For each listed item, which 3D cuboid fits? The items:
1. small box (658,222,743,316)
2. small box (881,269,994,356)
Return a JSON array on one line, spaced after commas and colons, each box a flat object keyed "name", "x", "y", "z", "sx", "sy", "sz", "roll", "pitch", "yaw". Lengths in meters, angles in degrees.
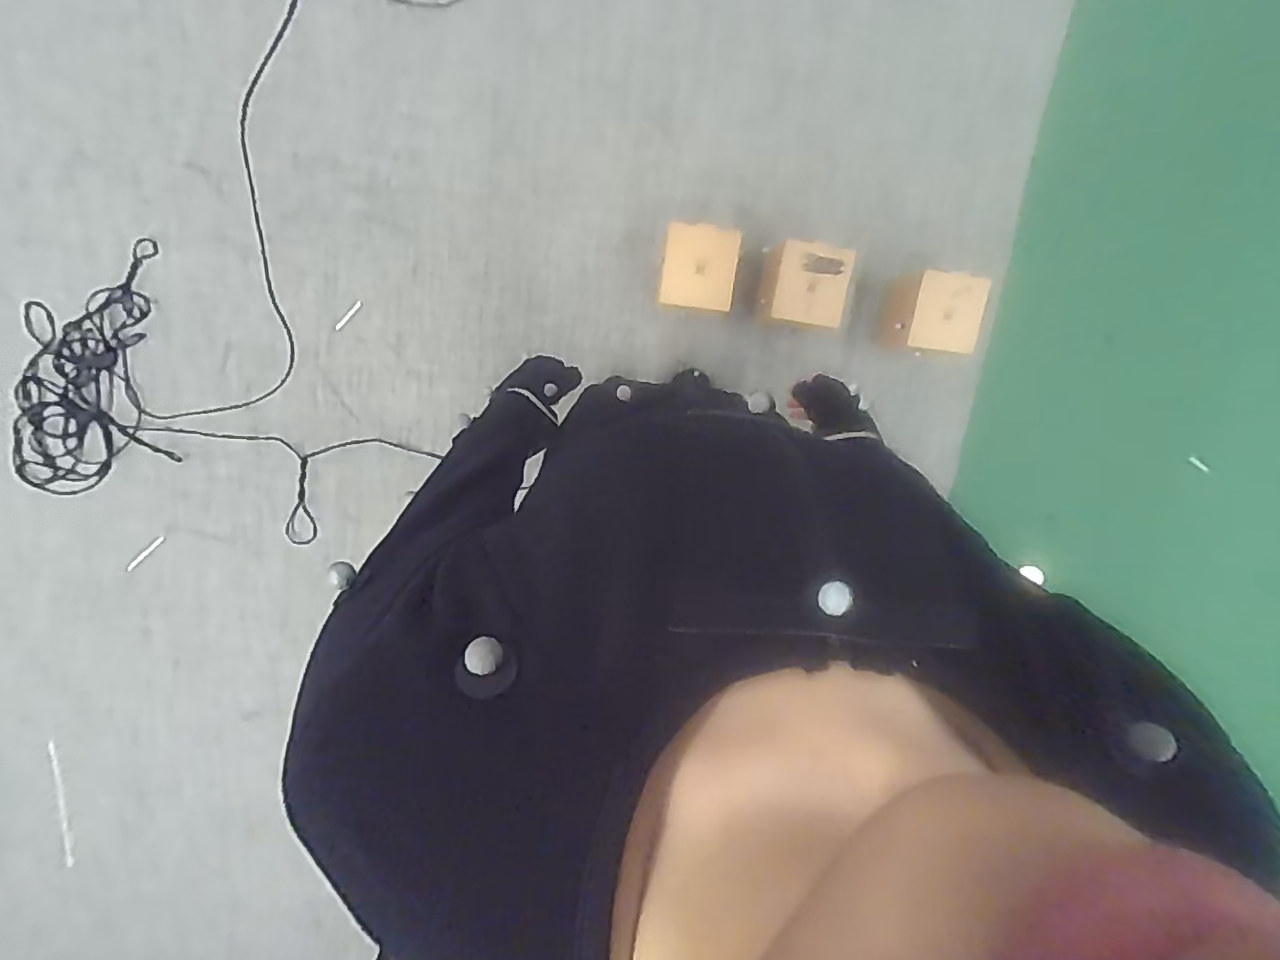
[{"name": "small box", "x": 0.137, "y": -0.493, "z": 1.291, "sx": 0.168, "sy": 0.176, "sz": 0.179, "roll": 7, "pitch": 102, "yaw": -3}, {"name": "small box", "x": 0.719, "y": -0.404, "z": 1.330, "sx": 0.168, "sy": 0.176, "sz": 0.179, "roll": 7, "pitch": 102, "yaw": -4}]
